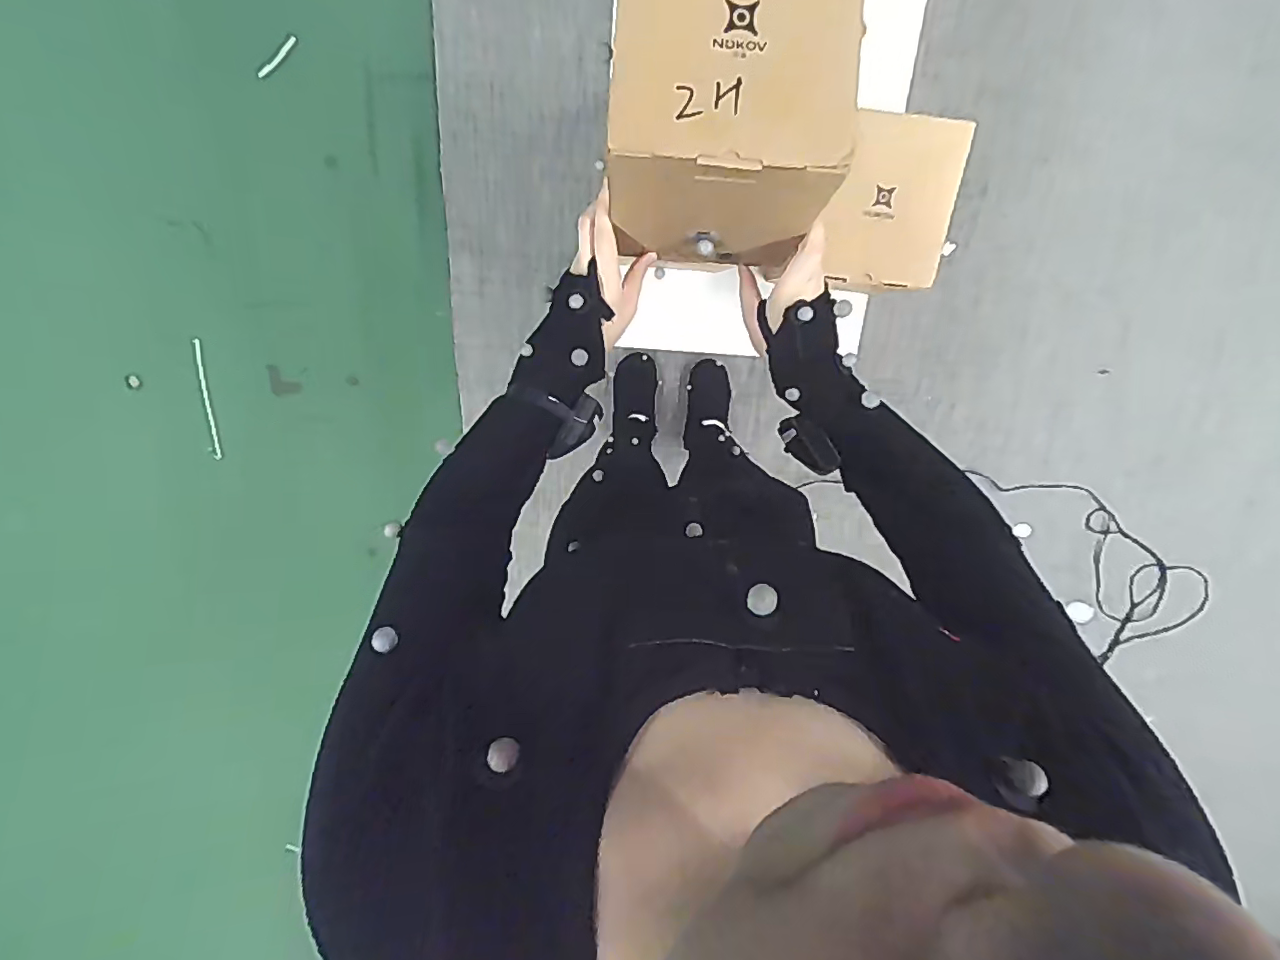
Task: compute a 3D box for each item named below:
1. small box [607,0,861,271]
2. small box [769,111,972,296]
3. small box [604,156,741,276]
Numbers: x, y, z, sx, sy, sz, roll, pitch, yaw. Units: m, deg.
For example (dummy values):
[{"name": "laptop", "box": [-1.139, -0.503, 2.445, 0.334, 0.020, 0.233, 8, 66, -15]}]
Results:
[{"name": "small box", "box": [0.063, -0.296, 0.444, 0.168, 0.176, 0.179, 4, 91, -1]}, {"name": "small box", "box": [0.273, -0.335, 0.686, 0.168, 0.176, 0.179, 5, 109, -2]}, {"name": "small box", "box": [0.043, -0.357, 0.674, 0.168, 0.176, 0.179, 4, 109, -3]}]
